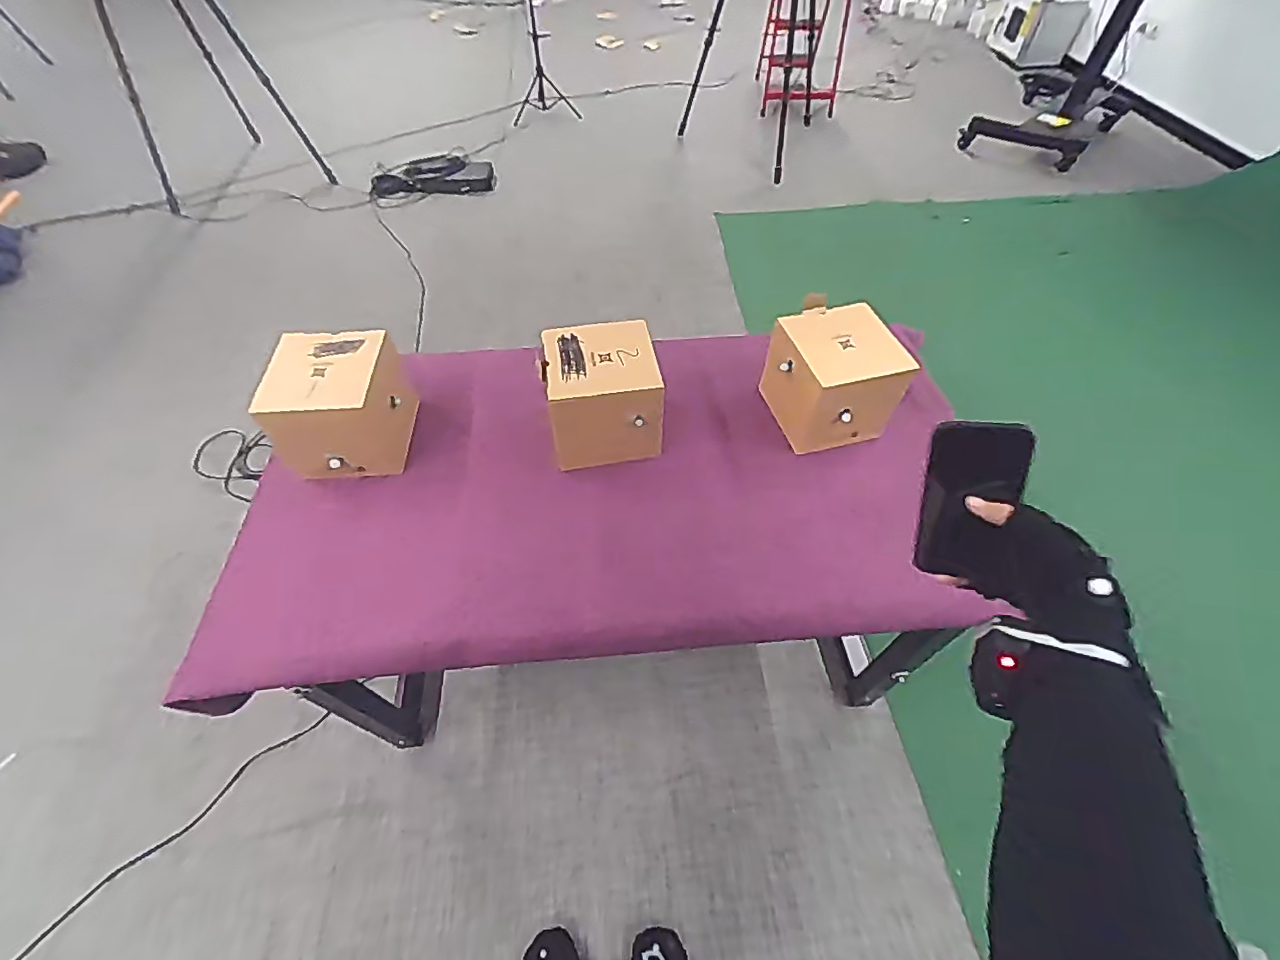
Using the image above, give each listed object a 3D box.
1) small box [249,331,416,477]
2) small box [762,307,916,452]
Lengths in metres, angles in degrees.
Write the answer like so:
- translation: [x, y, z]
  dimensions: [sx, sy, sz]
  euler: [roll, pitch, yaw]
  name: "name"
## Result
- translation: [-0.485, -0.123, 0.889]
  dimensions: [0.168, 0.176, 0.179]
  euler: [-3, 55, -2]
  name: "small box"
- translation: [0.327, -0.164, 0.927]
  dimensions: [0.168, 0.176, 0.179]
  euler: [-12, 54, -9]
  name: "small box"
